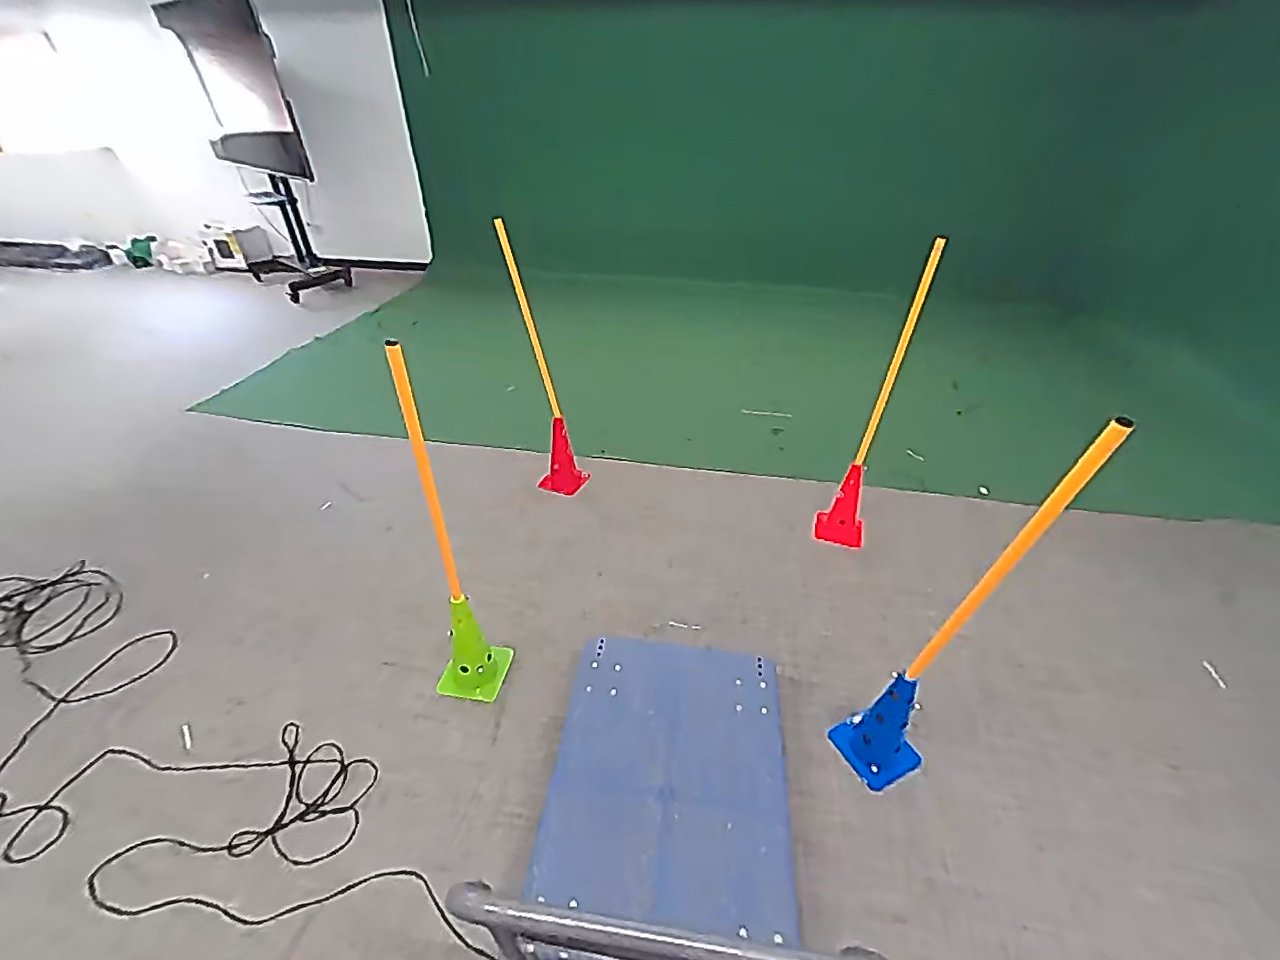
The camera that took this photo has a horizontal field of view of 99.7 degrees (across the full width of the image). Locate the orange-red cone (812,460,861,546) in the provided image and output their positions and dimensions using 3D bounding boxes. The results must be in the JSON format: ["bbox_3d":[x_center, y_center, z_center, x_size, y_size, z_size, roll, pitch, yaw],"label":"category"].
[{"bbox_3d":[0.863,0.074,2.267,0.198,0.360,0.199,13,38,17],"label":"orange-red cone"}]
